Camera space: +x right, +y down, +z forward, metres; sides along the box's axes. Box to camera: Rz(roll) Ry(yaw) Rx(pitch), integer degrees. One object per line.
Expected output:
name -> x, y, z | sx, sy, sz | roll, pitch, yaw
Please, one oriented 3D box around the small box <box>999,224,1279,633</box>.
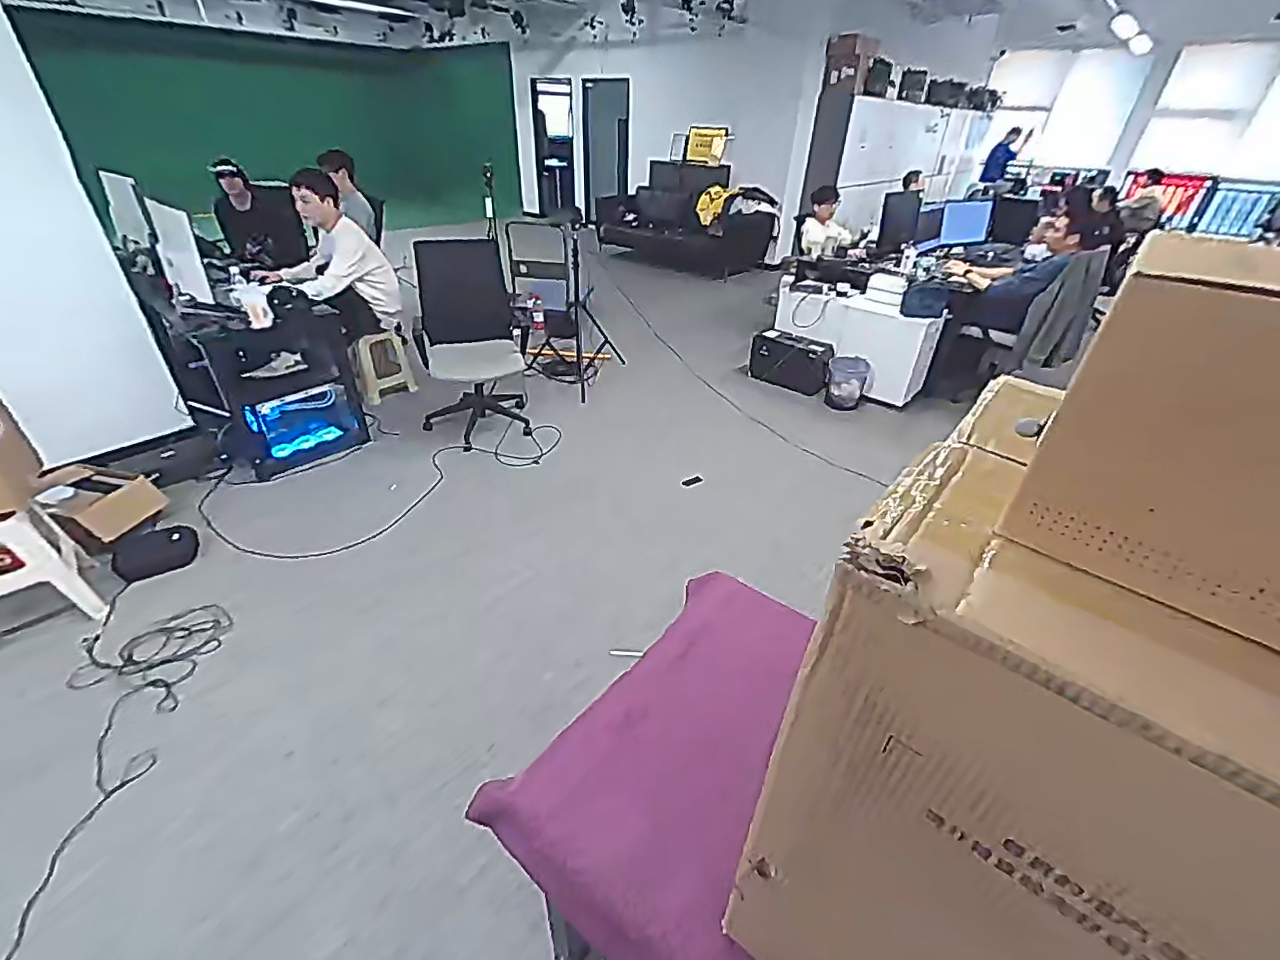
small box -> 0.351, -0.036, 0.311 | 0.179, 0.176, 0.168 | 27, 40, 32
